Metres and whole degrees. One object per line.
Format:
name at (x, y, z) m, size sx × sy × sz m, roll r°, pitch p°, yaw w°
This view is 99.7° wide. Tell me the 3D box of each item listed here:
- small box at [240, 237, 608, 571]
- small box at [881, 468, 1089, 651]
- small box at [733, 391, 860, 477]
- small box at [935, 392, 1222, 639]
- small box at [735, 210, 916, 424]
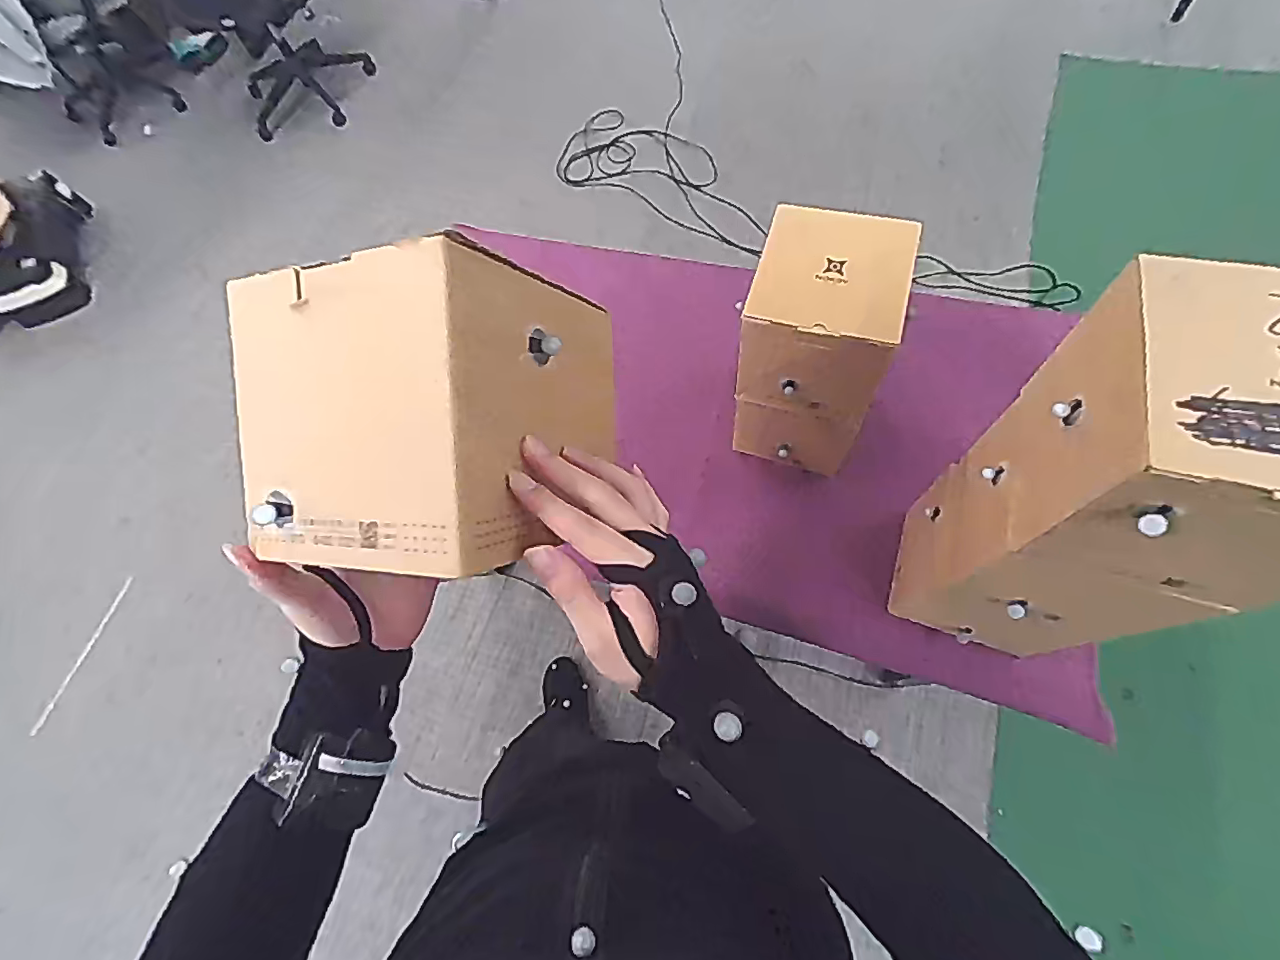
small box at (-0.129, -0.040, 0.371) m, size 0.168 × 0.179 × 0.176 m, roll 2°, pitch 94°, yaw 24°
small box at (0.439, 0.111, 0.698) m, size 0.179 × 0.176 × 0.168 m, roll 18°, pitch 69°, yaw 14°
small box at (0.244, -0.131, 0.825) m, size 0.168 × 0.176 × 0.179 m, roll 18°, pitch 70°, yaw 14°
small box at (0.425, 0.043, 0.550) m, size 0.168 × 0.176 × 0.179 m, roll 17°, pitch 69°, yaw 15°
small box at (0.220, -0.197, 0.679) m, size 0.168 × 0.176 × 0.179 m, roll 15°, pitch 70°, yaw 12°
